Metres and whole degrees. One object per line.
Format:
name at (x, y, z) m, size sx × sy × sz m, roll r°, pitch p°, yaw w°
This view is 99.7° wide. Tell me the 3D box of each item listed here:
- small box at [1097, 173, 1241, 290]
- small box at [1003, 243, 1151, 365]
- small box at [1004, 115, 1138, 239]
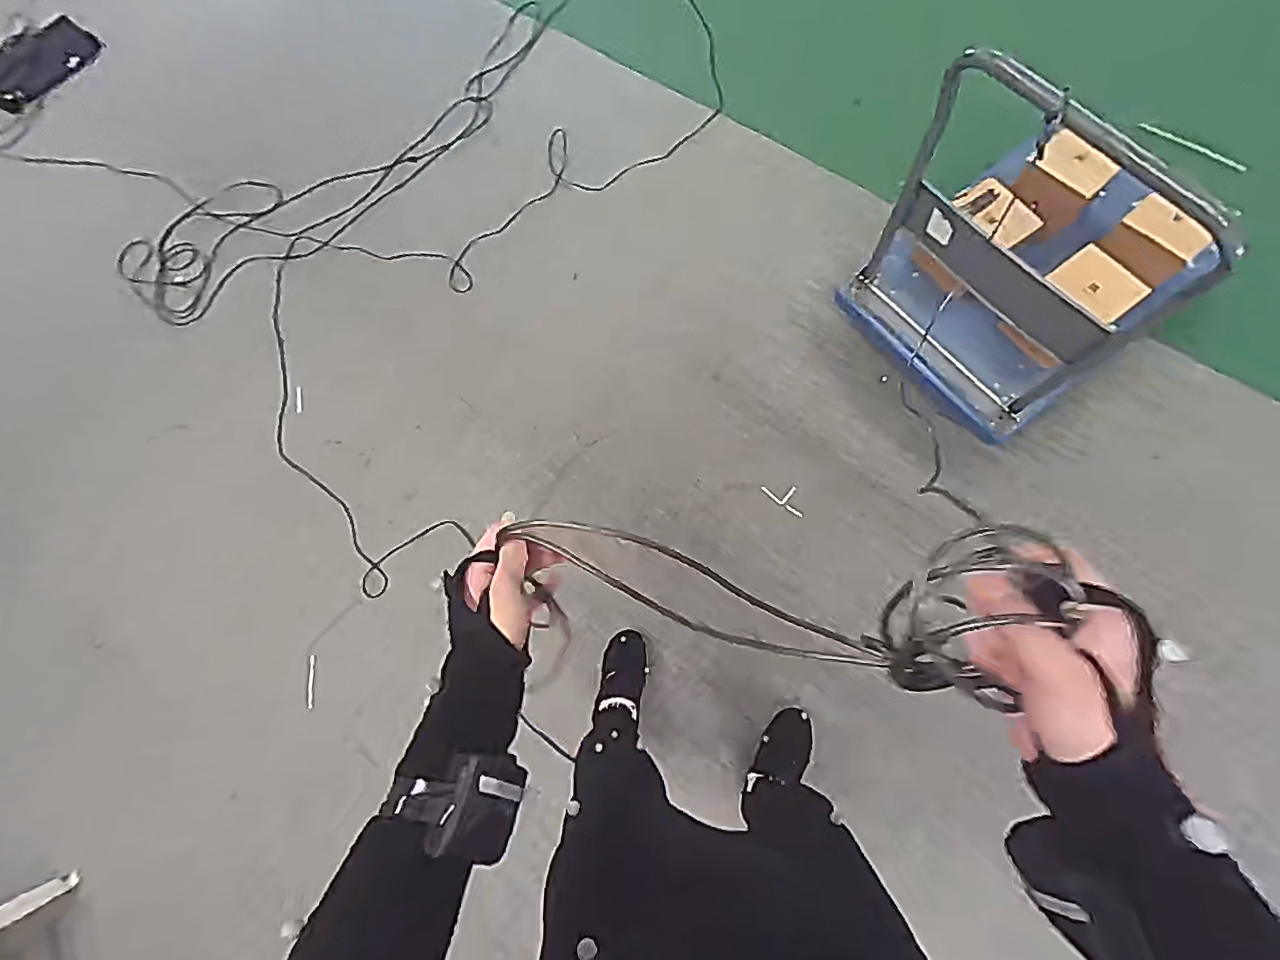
small box at (1.226, -0.573, 1.287) m, size 0.179 × 0.176 × 0.168 m, roll -41°, pitch 73°, yaw -4°
small box at (1.012, -0.407, 1.273) m, size 0.179 × 0.176 × 0.168 m, roll -37°, pitch 74°, yaw -3°
small box at (1.062, -0.750, 1.356) m, size 0.179 × 0.176 × 0.168 m, roll -41°, pitch 75°, yaw -4°
